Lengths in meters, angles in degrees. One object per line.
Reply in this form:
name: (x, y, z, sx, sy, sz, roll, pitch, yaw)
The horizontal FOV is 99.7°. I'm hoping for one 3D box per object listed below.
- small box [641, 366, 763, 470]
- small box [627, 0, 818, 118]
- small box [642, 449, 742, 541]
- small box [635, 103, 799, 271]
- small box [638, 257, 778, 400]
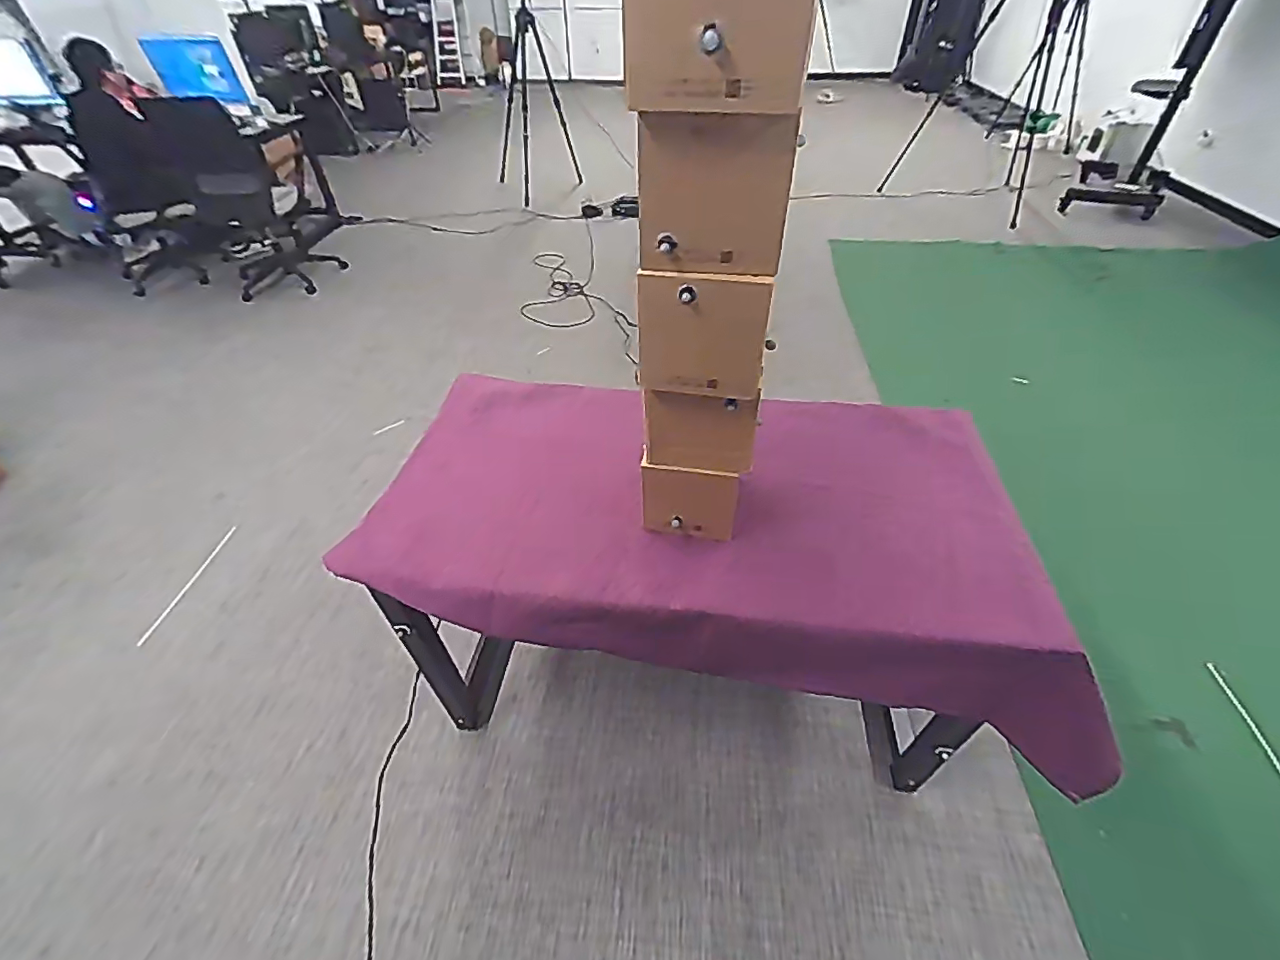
small box: (0.103, -0.133, 0.879, 0.179, 0.176, 0.168, 6, 45, 8)
small box: (0.084, -0.464, 0.514, 0.168, 0.176, 0.179, 9, 45, 12)
small box: (0.101, -0.016, 0.991, 0.168, 0.176, 0.179, 7, 45, 10)
small box: (0.091, -0.363, 0.646, 0.168, 0.176, 0.179, 5, 43, 7)
small box: (0.096, -0.235, 0.749, 0.168, 0.176, 0.179, 8, 44, 11)
